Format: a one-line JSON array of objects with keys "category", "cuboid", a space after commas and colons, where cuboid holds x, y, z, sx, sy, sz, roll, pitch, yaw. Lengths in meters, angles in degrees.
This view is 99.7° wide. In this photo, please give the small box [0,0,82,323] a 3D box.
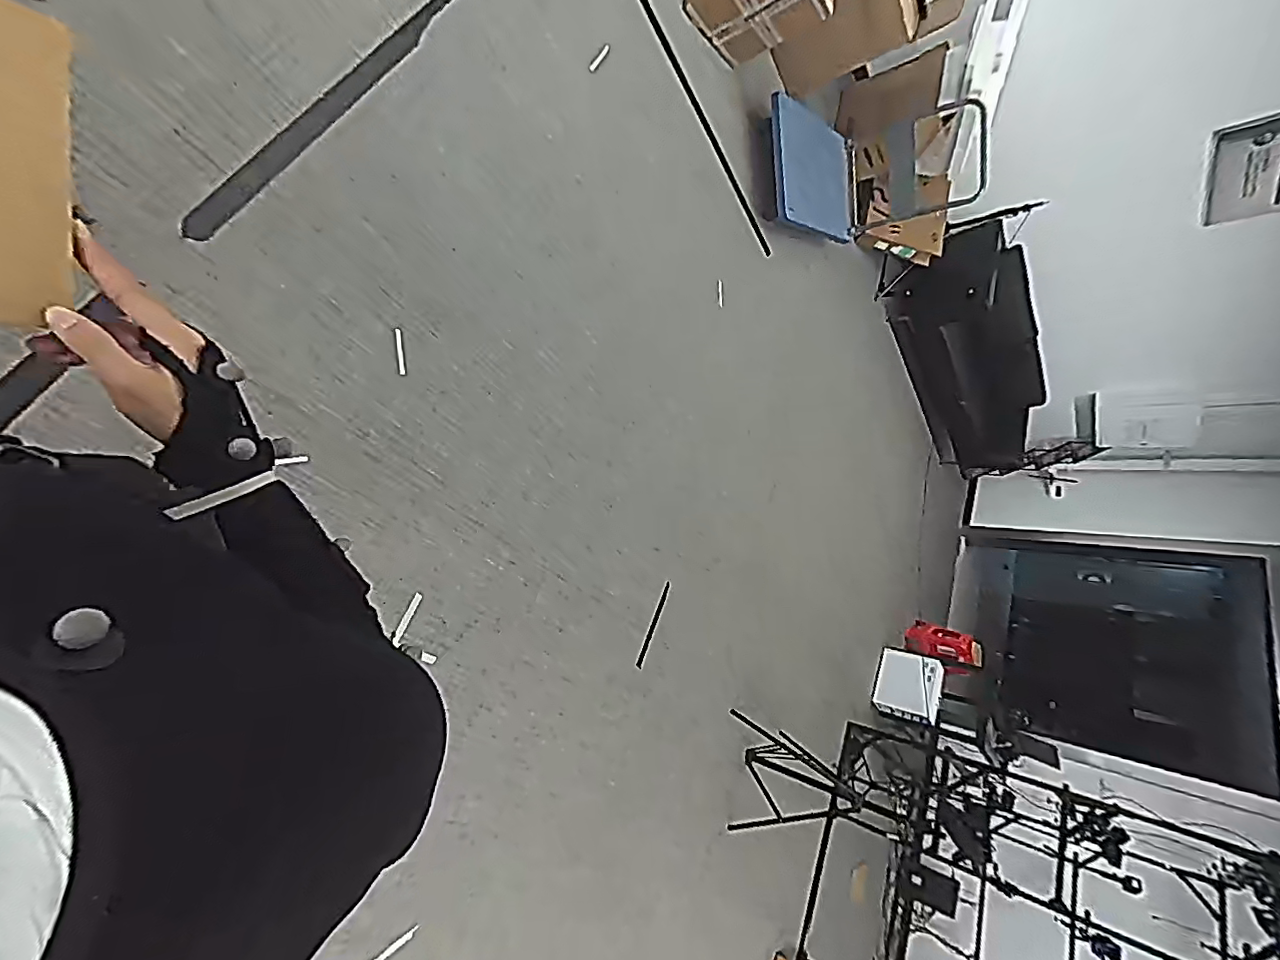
[{"category": "small box", "cuboid": [-0.431, -0.188, 0.288, 0.179, 0.176, 0.168, -2, 105, -49]}]
